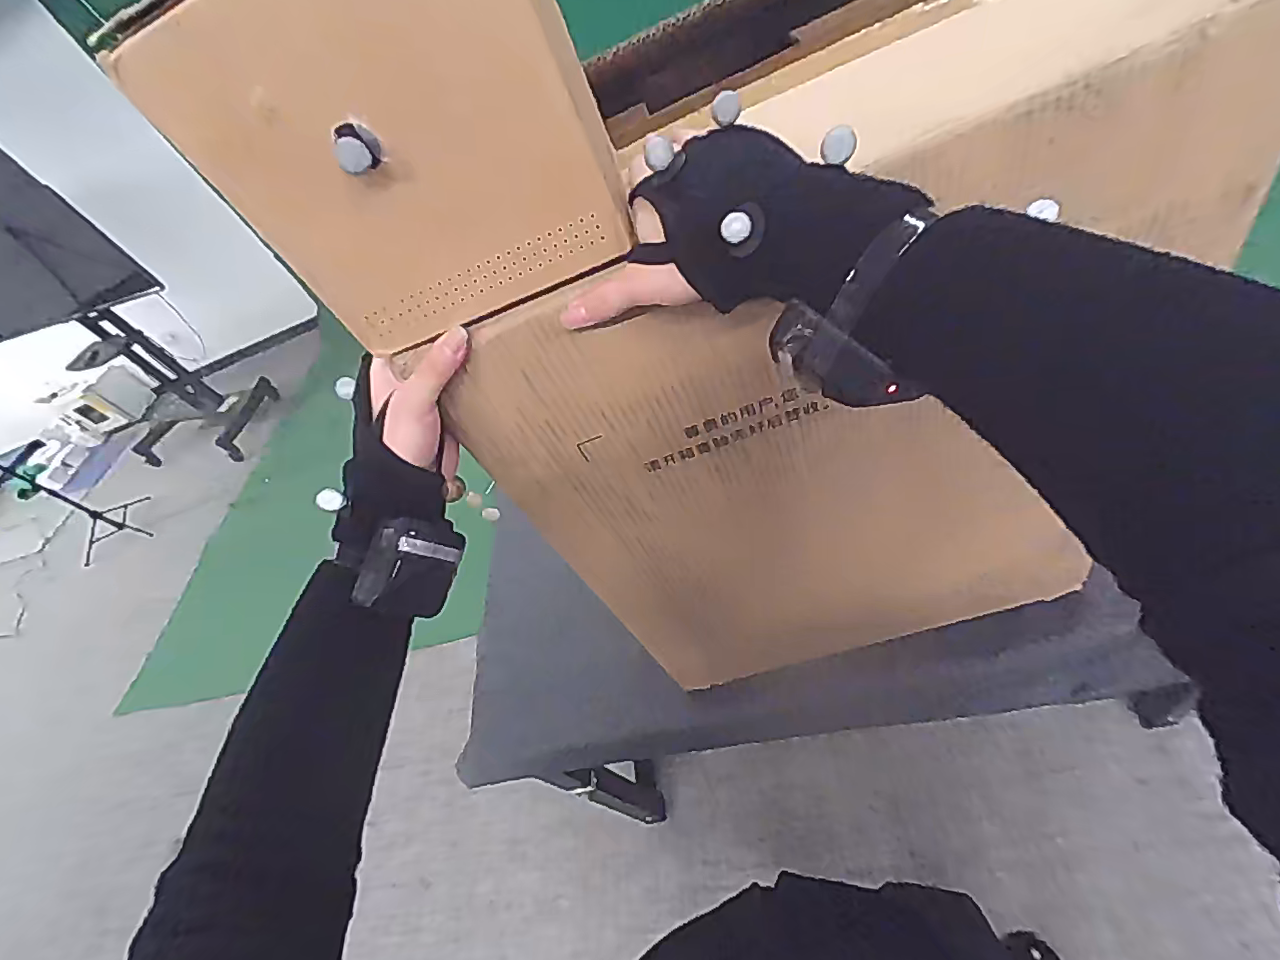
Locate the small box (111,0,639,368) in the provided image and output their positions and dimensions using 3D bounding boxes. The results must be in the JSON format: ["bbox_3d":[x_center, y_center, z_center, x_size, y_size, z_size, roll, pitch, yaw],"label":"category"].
[{"bbox_3d":[-0.117,-0.194,0.313,0.179,0.176,0.168,-19,48,12],"label":"small box"}]
